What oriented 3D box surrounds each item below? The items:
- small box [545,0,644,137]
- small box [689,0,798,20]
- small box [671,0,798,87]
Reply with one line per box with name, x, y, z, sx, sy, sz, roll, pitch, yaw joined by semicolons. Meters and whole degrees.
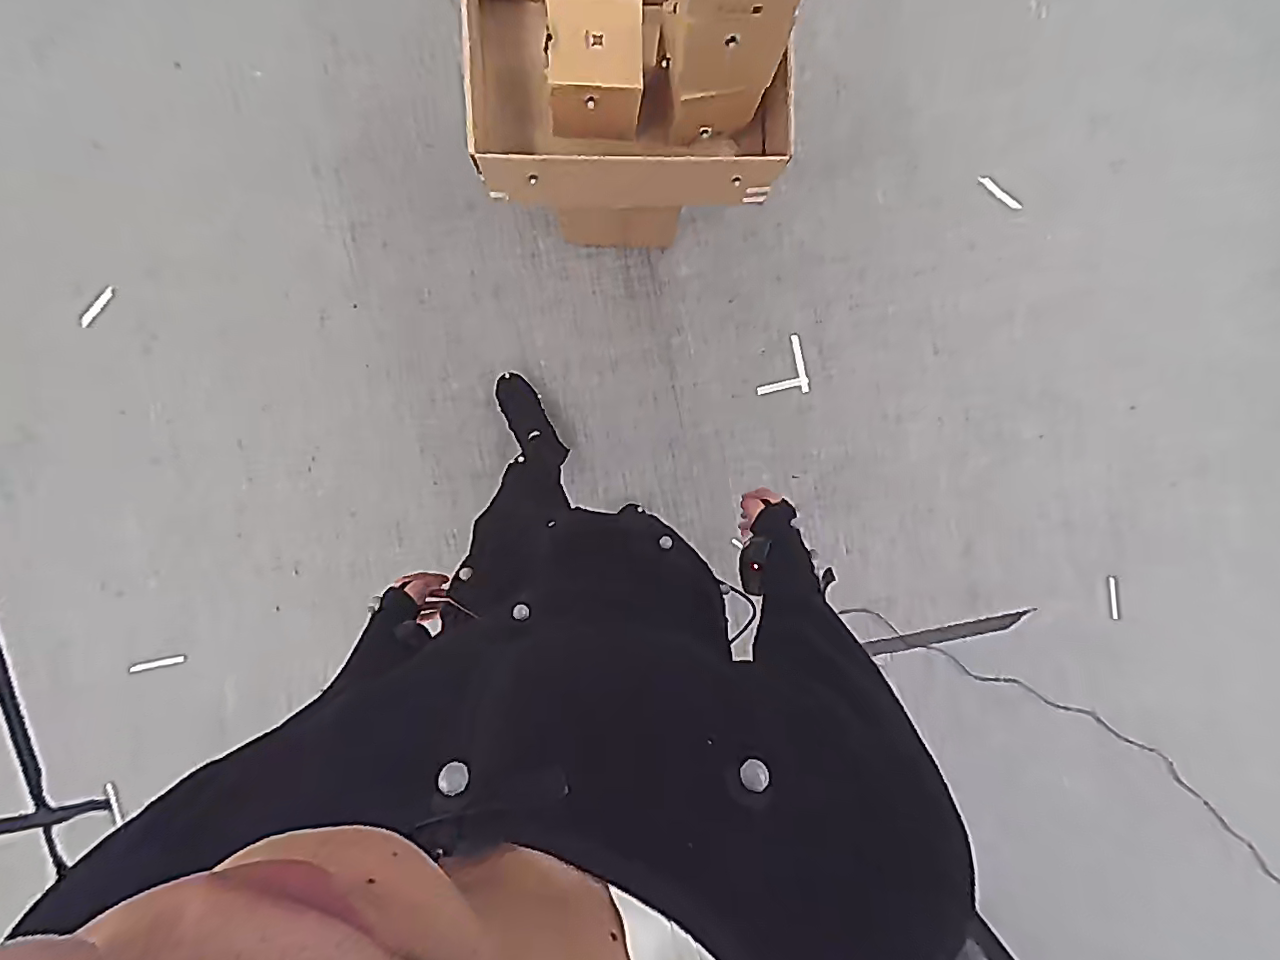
small box;-0.088;-0.793;1.043;0.179;0.176;0.168;-1;94;-4
small box;0.154;-0.780;0.728;0.168;0.176;0.179;1;93;-2
small box;0.145;-0.787;0.892;0.179;0.176;0.168;-5;94;-2
